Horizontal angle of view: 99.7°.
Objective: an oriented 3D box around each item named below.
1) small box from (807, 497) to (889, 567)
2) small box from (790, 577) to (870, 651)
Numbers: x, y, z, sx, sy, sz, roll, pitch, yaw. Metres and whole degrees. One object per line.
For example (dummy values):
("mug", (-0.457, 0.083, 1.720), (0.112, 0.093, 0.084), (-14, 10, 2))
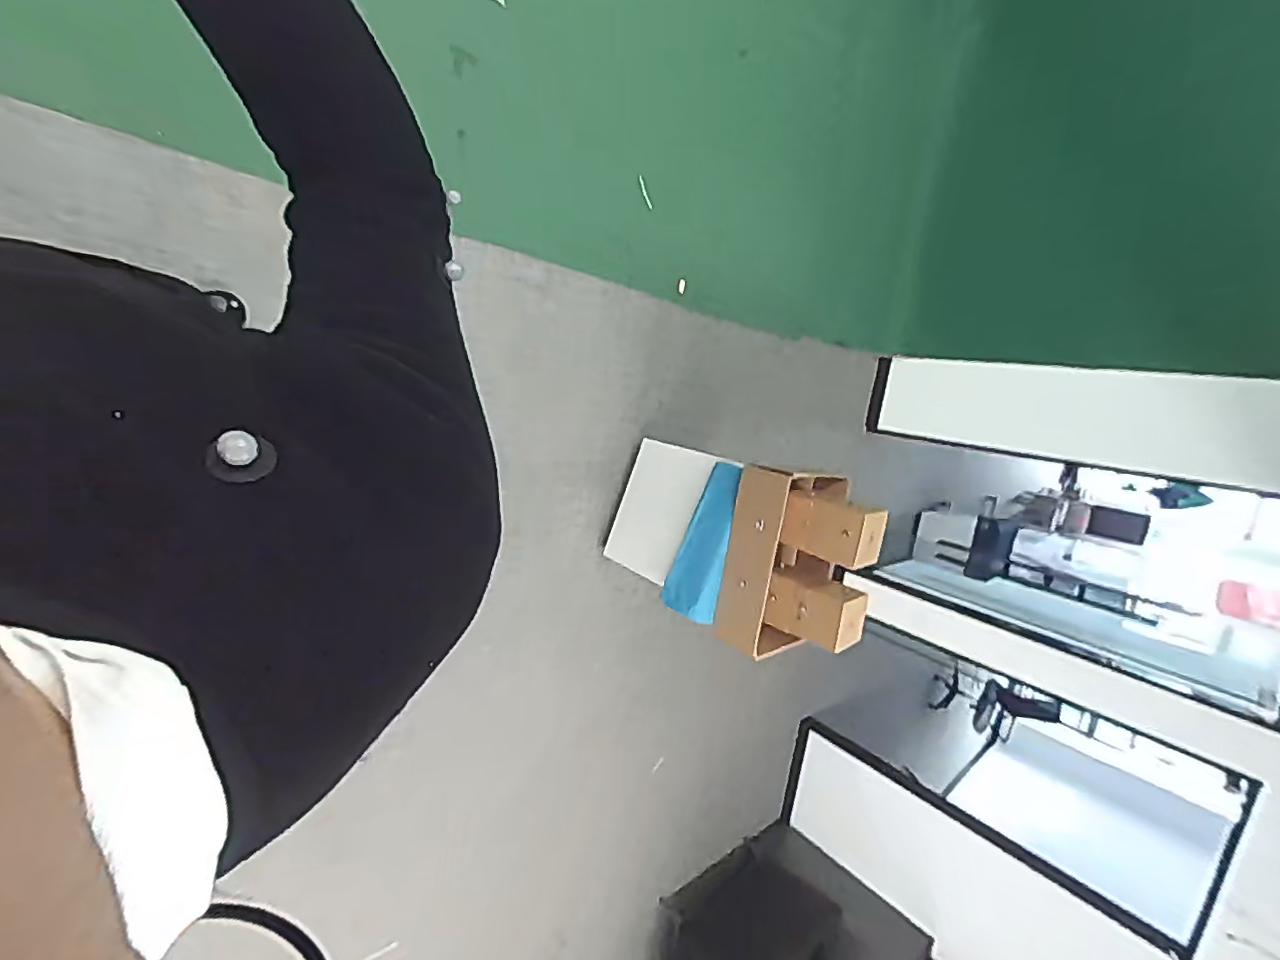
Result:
("small box", (0.647, 0.155, 1.694), (0.168, 0.176, 0.179), (-2, 106, -43))
("small box", (0.614, 0.424, 1.750), (0.179, 0.176, 0.168), (-2, 103, -43))
